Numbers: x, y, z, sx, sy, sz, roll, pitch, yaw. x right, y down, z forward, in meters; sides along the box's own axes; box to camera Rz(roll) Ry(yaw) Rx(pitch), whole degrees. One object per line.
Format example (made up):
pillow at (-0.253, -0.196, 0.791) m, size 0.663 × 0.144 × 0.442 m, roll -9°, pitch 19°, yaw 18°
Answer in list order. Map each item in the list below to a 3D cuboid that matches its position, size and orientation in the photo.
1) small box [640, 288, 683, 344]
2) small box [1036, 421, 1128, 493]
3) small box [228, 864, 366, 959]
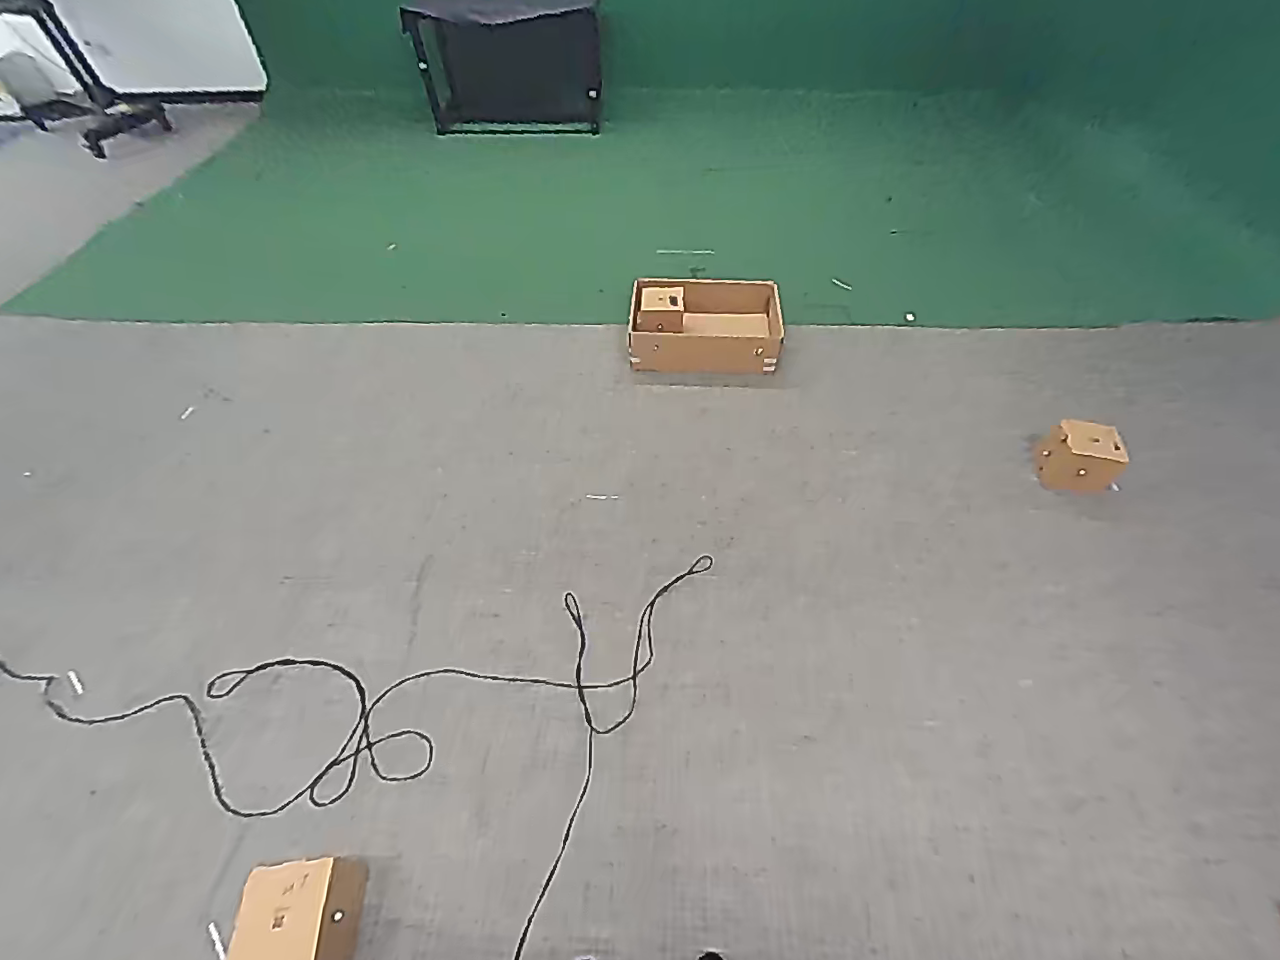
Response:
small box at (0.090, -0.690, 2.280) m, size 0.179 × 0.176 × 0.168 m, roll 1°, pitch 52°, yaw 3°
small box at (1.479, -0.075, 1.828) m, size 0.179 × 0.176 × 0.168 m, roll 10°, pitch 52°, yaw 10°
small box at (-0.678, 0.893, 1.085) m, size 0.168 × 0.176 × 0.179 m, roll -6°, pitch 50°, yaw -4°
